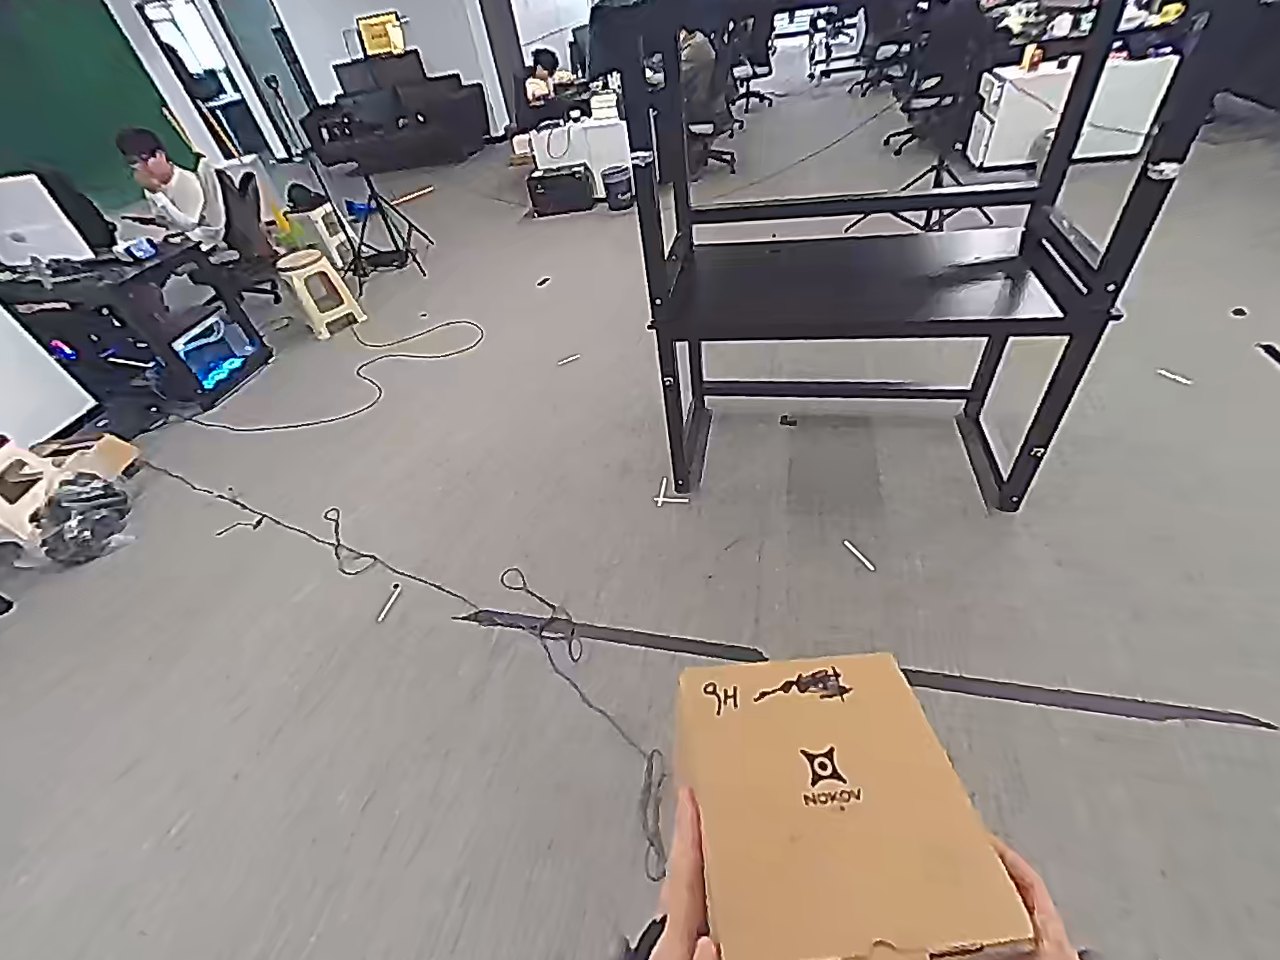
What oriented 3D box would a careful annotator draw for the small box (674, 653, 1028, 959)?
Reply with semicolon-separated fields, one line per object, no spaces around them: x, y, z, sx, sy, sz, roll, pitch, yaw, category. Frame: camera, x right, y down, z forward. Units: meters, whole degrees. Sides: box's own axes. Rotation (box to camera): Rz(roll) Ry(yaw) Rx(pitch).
0.116;0.252;0.389;0.168;0.176;0.179;-4;39;-4;small box
